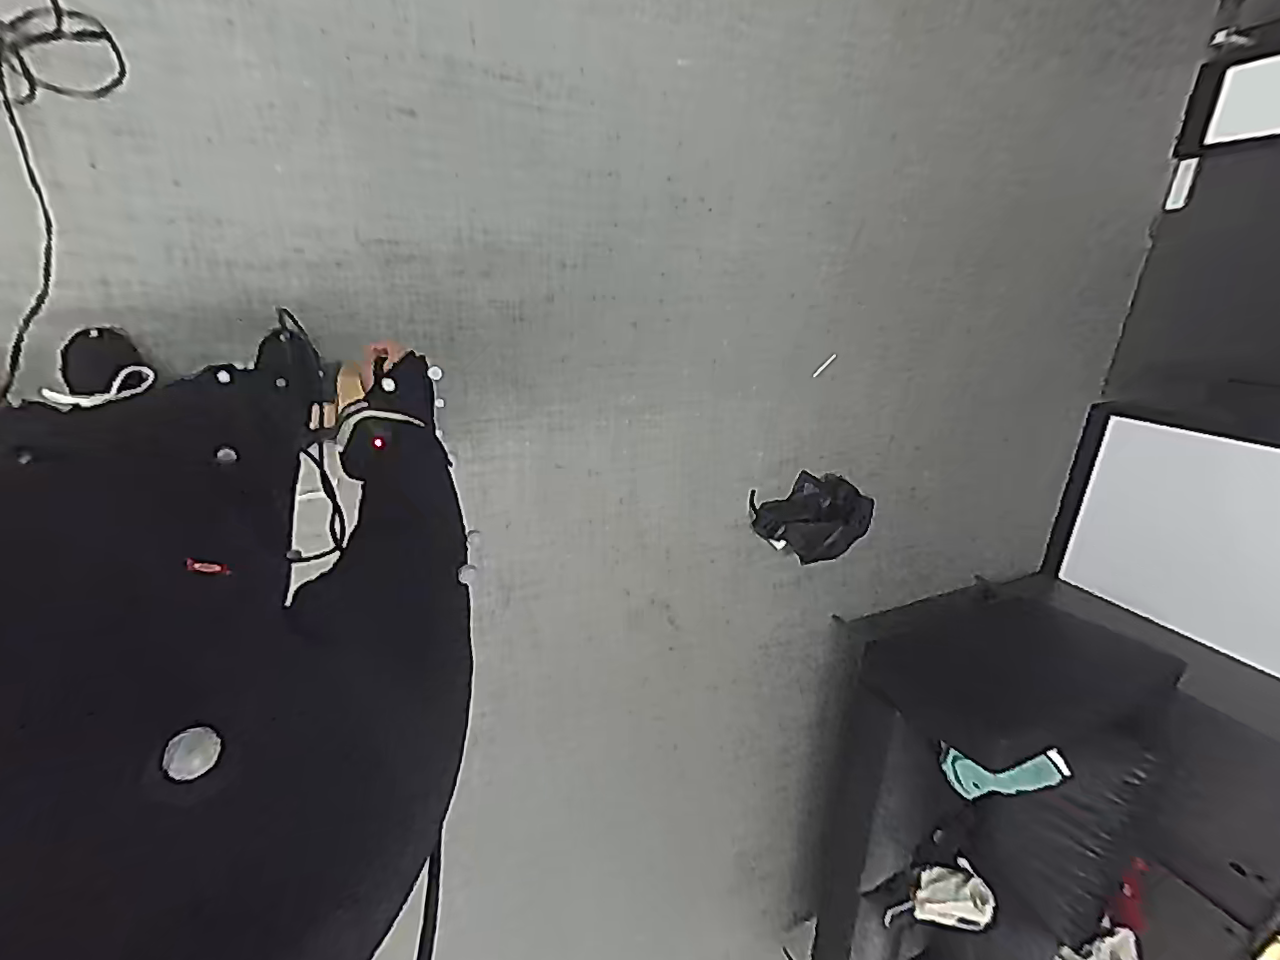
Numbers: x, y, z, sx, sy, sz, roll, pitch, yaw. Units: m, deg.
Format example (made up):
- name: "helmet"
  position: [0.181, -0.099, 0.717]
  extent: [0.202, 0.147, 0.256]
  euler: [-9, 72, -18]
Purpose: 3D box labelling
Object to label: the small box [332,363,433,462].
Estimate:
- name: "small box"
  position: [-0.544, -0.145, 1.141]
  extent: [0.179, 0.176, 0.168]
  euler: [3, 109, -26]
